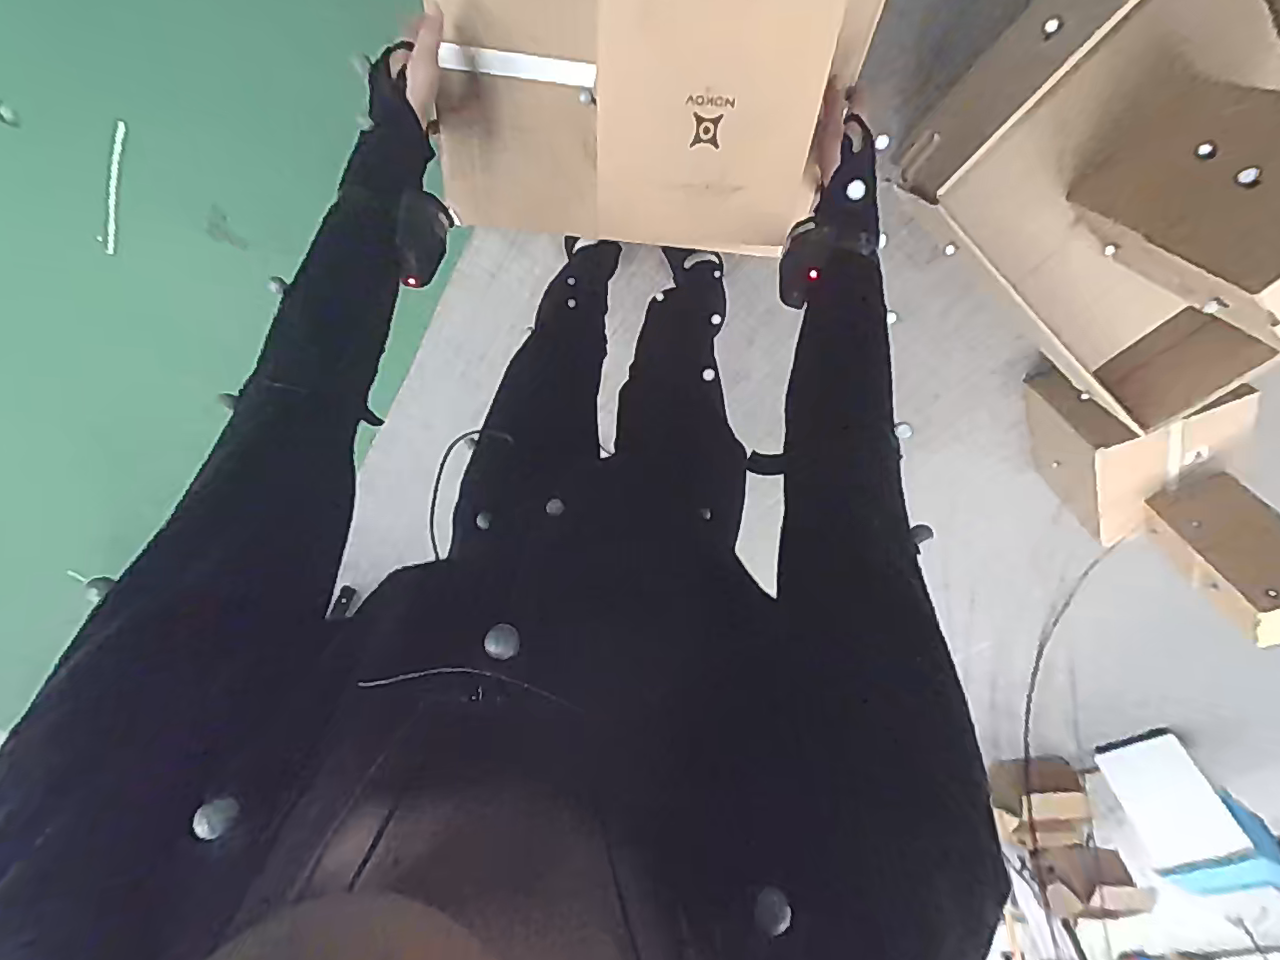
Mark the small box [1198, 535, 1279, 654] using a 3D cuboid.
[{"bbox_3d":[1.371,0.239,1.162,0.179,0.176,0.168,-28,126,22],"label":"small box"}]

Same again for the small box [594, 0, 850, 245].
[{"bbox_3d":[0.046,-0.319,0.451,0.168,0.176,0.179,1,135,-5],"label":"small box"}]

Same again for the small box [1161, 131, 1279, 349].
[{"bbox_3d":[0.725,-0.259,0.579,0.168,0.176,0.179,26,127,-21],"label":"small box"}]

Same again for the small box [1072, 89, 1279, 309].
[{"bbox_3d":[0.729,-0.366,0.703,0.168,0.176,0.179,29,126,-22],"label":"small box"}]
